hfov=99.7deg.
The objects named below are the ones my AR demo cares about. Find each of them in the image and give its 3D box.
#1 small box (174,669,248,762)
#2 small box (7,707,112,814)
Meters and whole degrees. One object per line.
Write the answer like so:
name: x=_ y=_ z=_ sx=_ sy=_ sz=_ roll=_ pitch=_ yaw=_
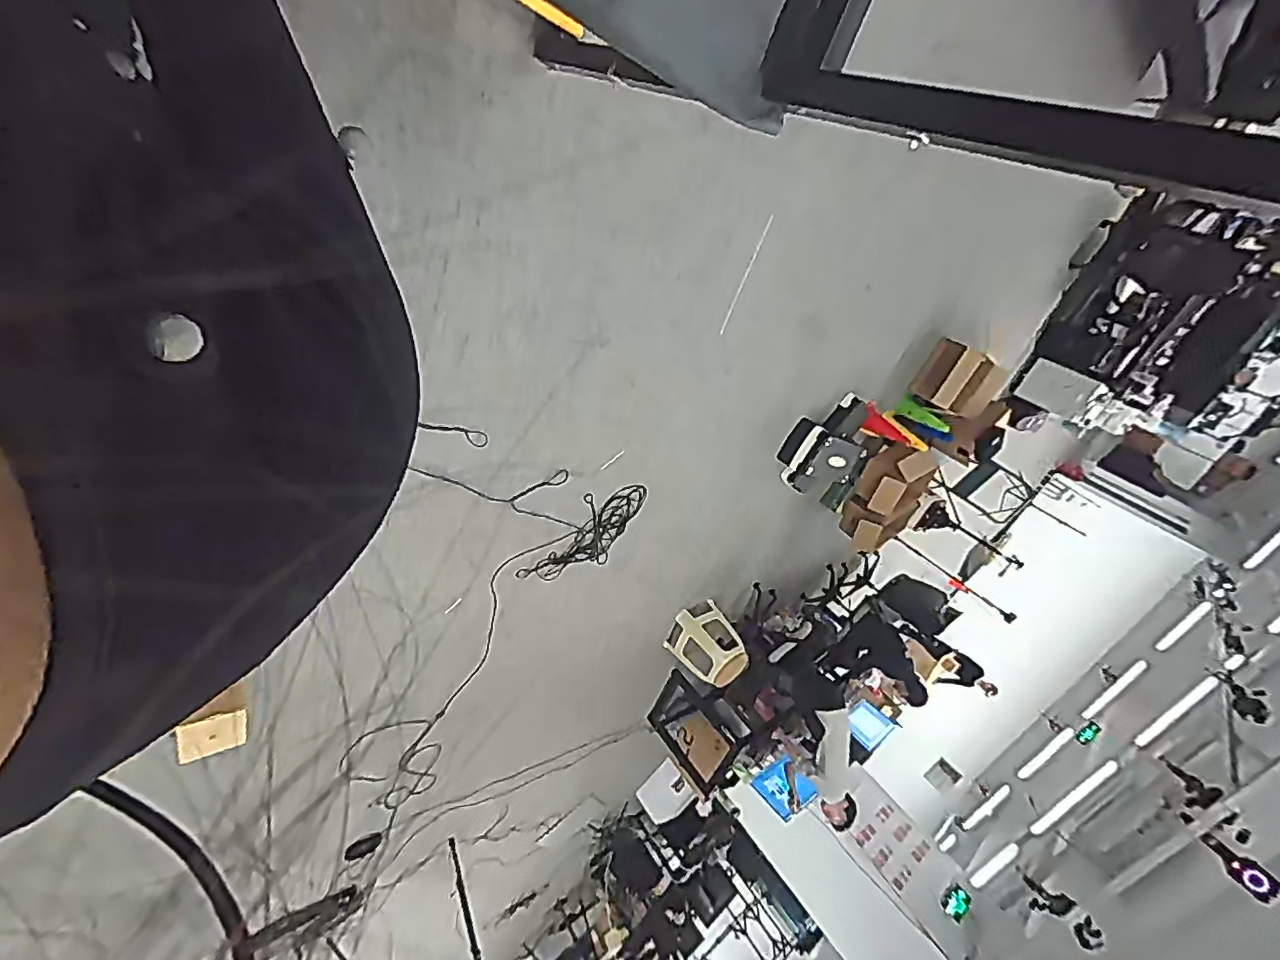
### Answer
small box: x=-1.333 y=0.726 z=1.681 sx=0.168 sy=0.176 sz=0.179 roll=-7 pitch=127 yaw=-42
small box: x=-1.565 y=0.747 z=1.465 sx=0.168 sy=0.176 sz=0.179 roll=-10 pitch=131 yaw=-39
